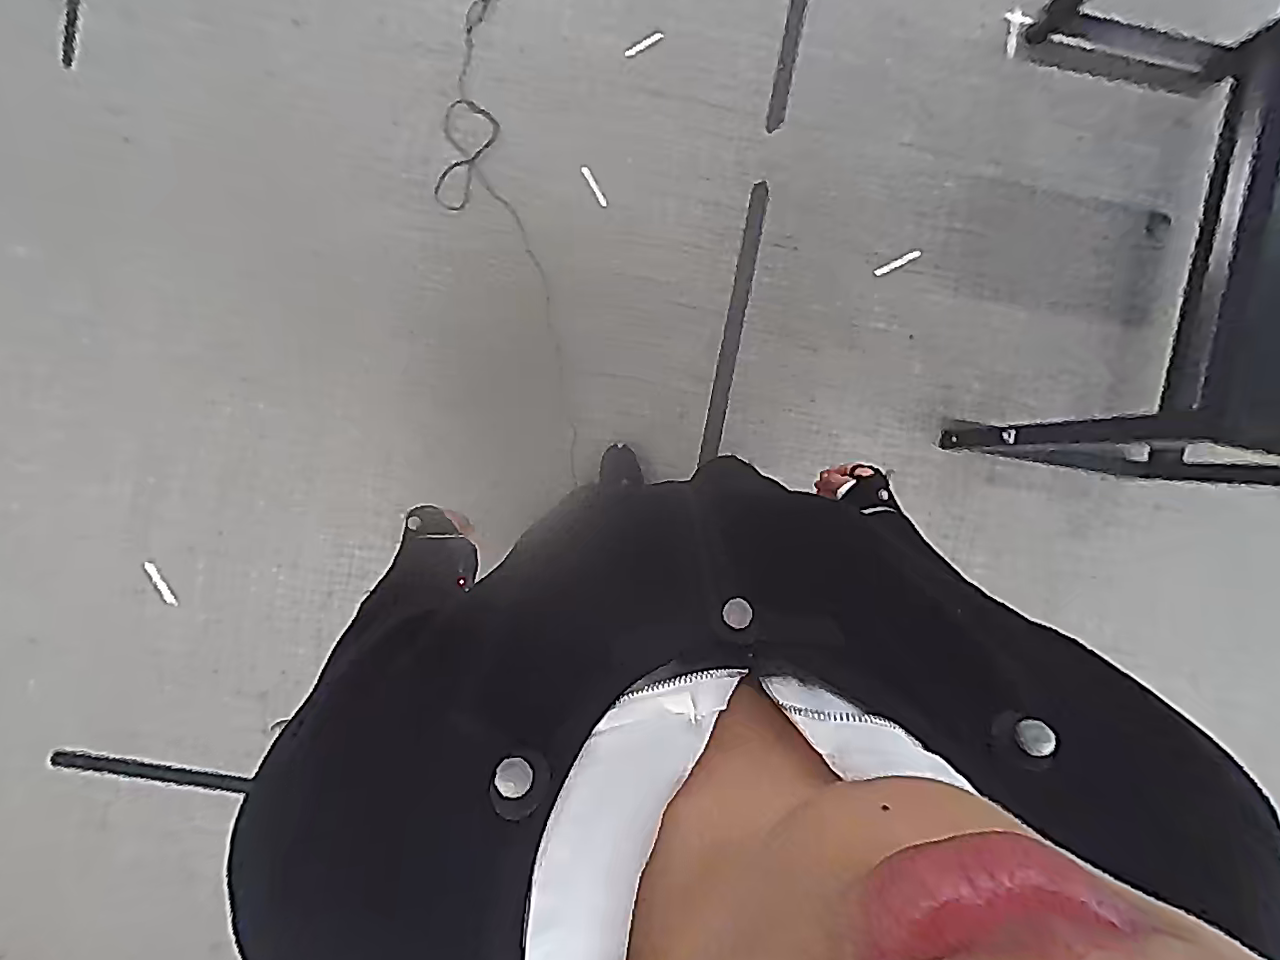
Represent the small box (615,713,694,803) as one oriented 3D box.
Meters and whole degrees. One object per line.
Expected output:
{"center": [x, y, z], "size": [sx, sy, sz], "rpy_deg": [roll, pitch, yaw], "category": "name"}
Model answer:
{"center": [0.033, 0.750, 1.450], "size": [0.179, 0.176, 0.168], "rpy_deg": [11, 91, -3], "category": "small box"}
